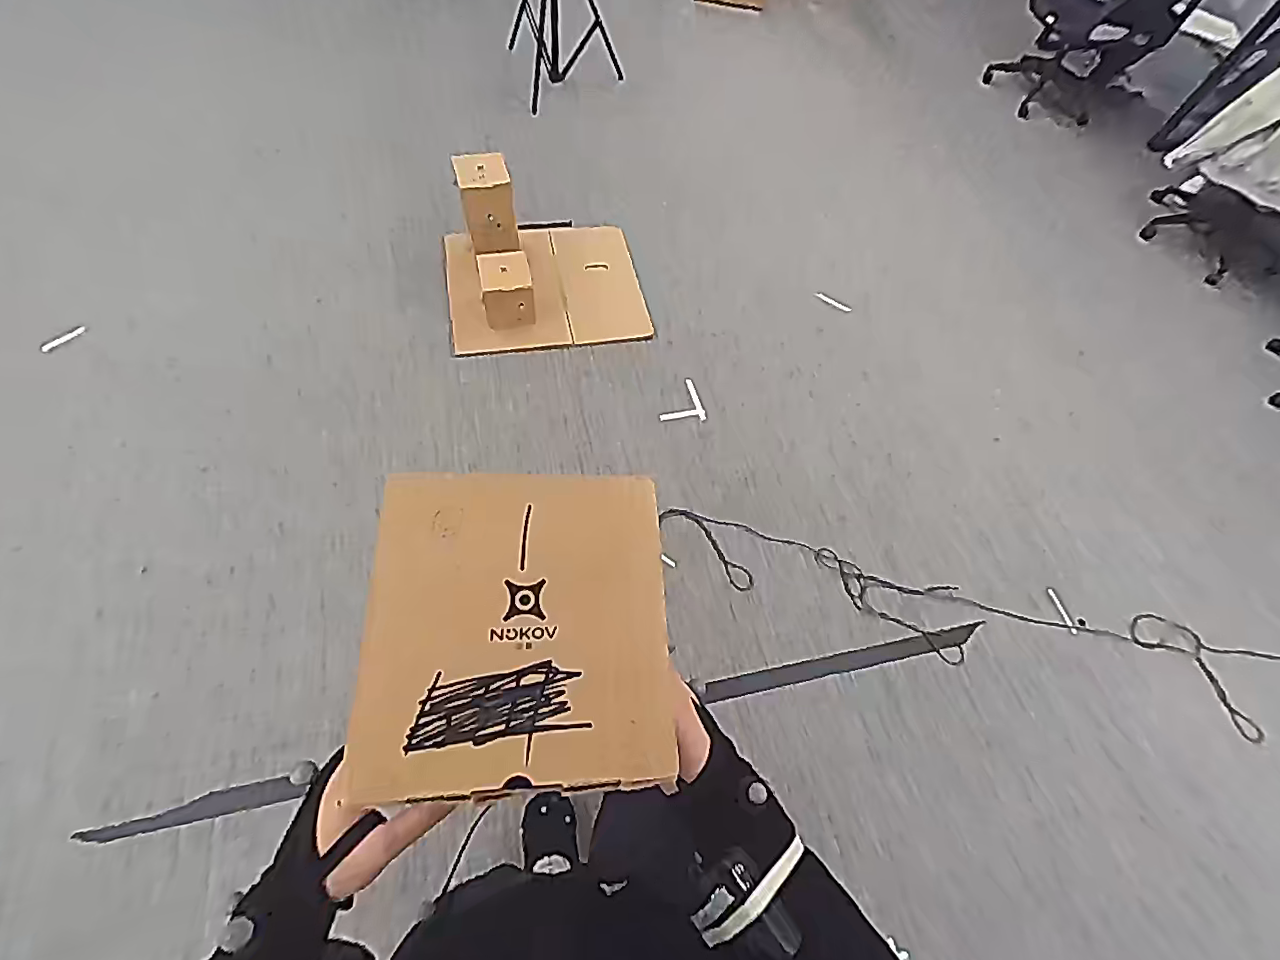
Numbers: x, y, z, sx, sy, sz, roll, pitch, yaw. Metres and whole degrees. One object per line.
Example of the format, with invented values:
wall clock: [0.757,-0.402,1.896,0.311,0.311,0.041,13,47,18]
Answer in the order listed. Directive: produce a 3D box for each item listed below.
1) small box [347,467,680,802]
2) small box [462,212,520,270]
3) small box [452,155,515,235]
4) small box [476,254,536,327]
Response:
small box: [-0.075,0.105,0.371,0.168,0.176,0.179,1,65,-10]
small box: [-0.540,-0.885,1.977,0.168,0.176,0.179,-15,65,-15]
small box: [-0.527,-0.965,1.833,0.168,0.176,0.179,-14,64,-13]
small box: [-0.457,-0.644,1.854,0.168,0.176,0.179,-11,62,-13]
